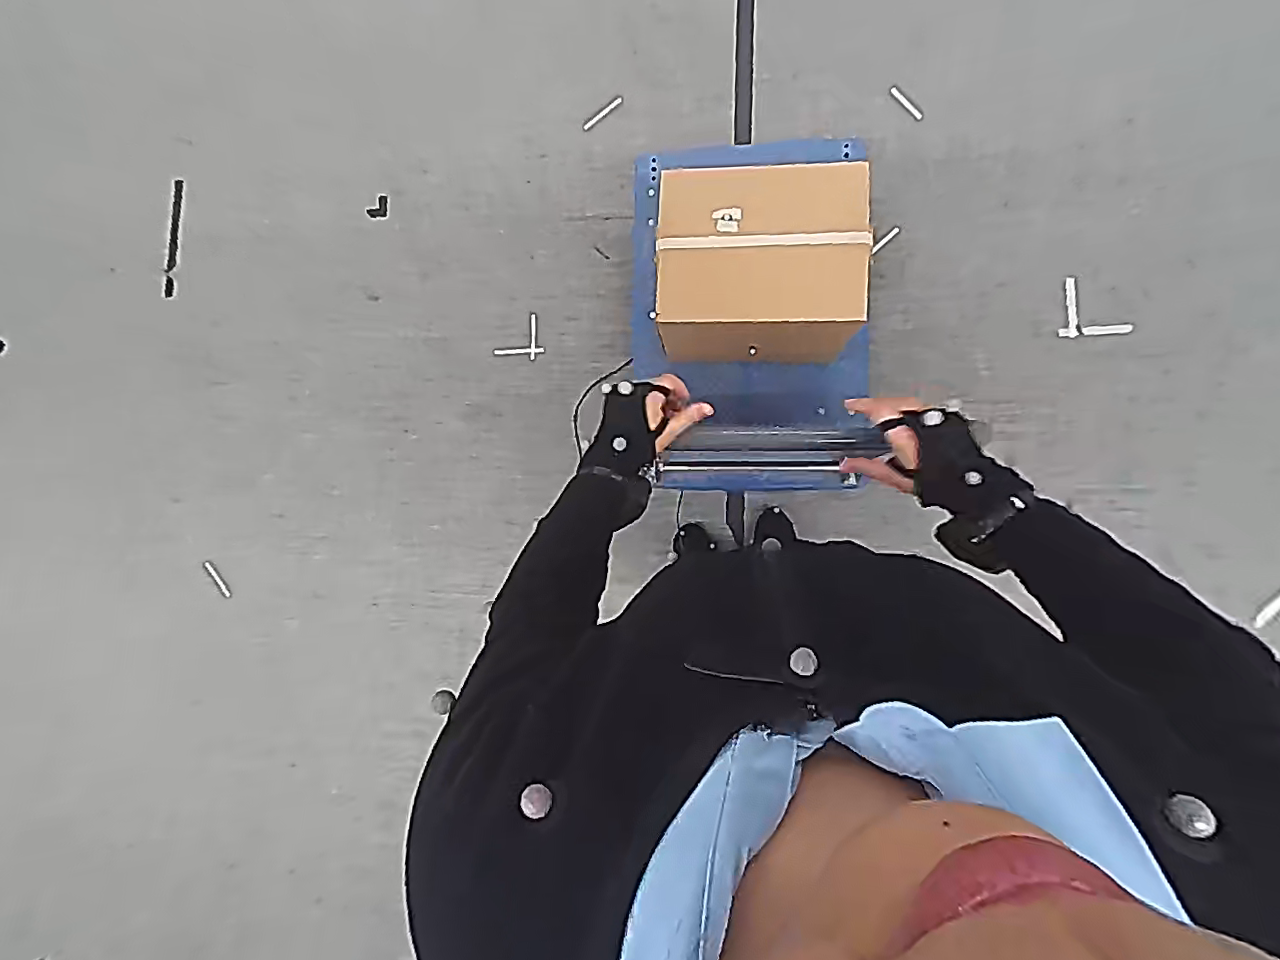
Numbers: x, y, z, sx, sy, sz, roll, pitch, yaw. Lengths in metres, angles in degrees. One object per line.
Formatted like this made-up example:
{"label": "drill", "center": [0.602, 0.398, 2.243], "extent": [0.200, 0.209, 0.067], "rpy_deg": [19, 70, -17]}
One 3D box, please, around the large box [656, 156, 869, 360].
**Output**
{"label": "large box", "center": [0.256, -0.455, 1.187], "extent": [0.408, 0.320, 0.320], "rpy_deg": [2, 86, 9]}
